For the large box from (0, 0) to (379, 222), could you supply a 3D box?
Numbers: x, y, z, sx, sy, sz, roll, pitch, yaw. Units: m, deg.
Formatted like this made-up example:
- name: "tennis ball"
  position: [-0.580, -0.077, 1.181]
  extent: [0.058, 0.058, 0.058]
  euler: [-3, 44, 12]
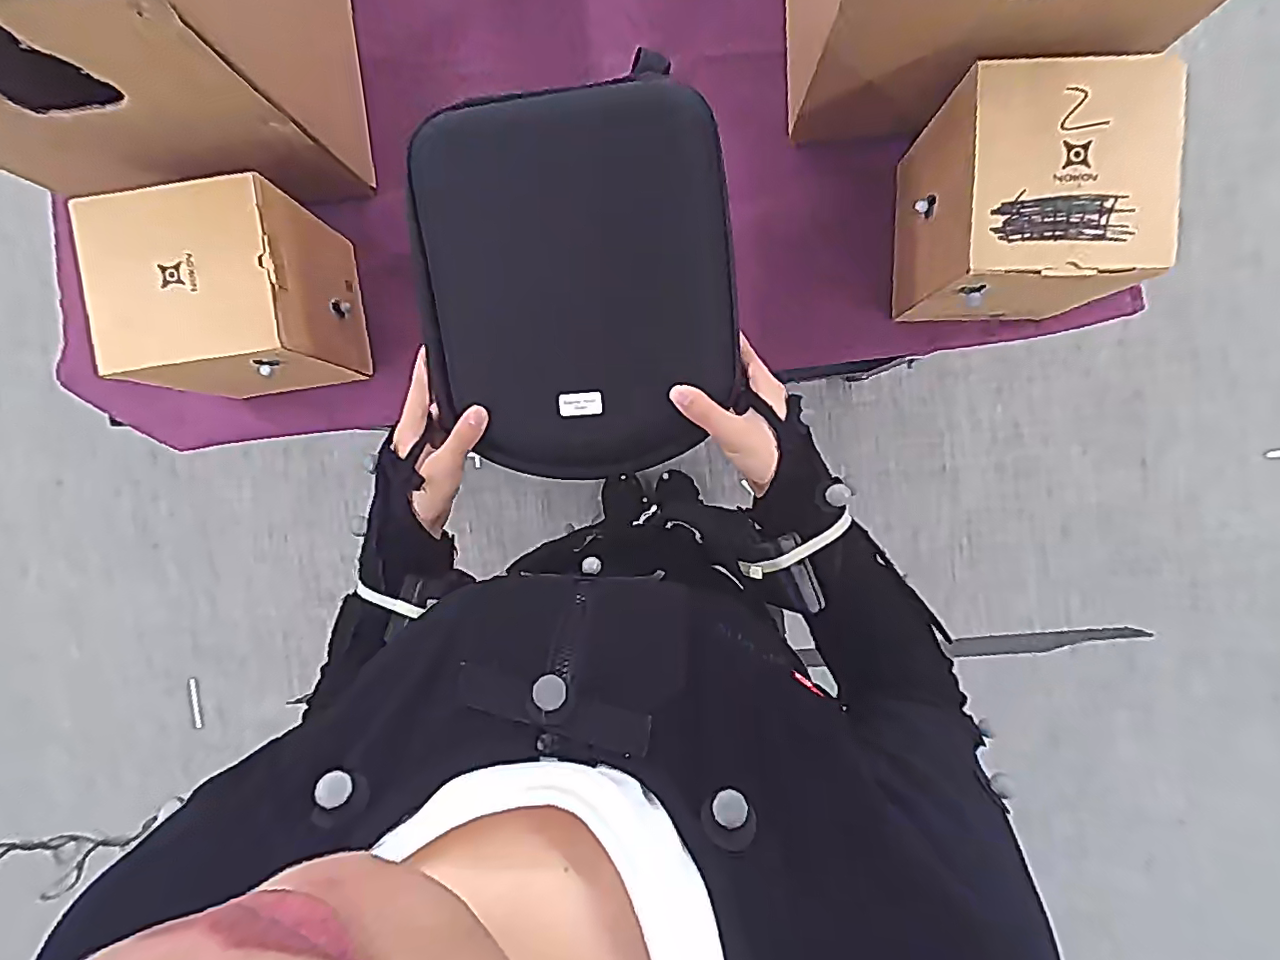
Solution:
- name: "large box"
  position: [-0.494, -0.518, 0.502]
  extent: [0.320, 0.320, 0.408]
  euler: [-7, 95, 3]
